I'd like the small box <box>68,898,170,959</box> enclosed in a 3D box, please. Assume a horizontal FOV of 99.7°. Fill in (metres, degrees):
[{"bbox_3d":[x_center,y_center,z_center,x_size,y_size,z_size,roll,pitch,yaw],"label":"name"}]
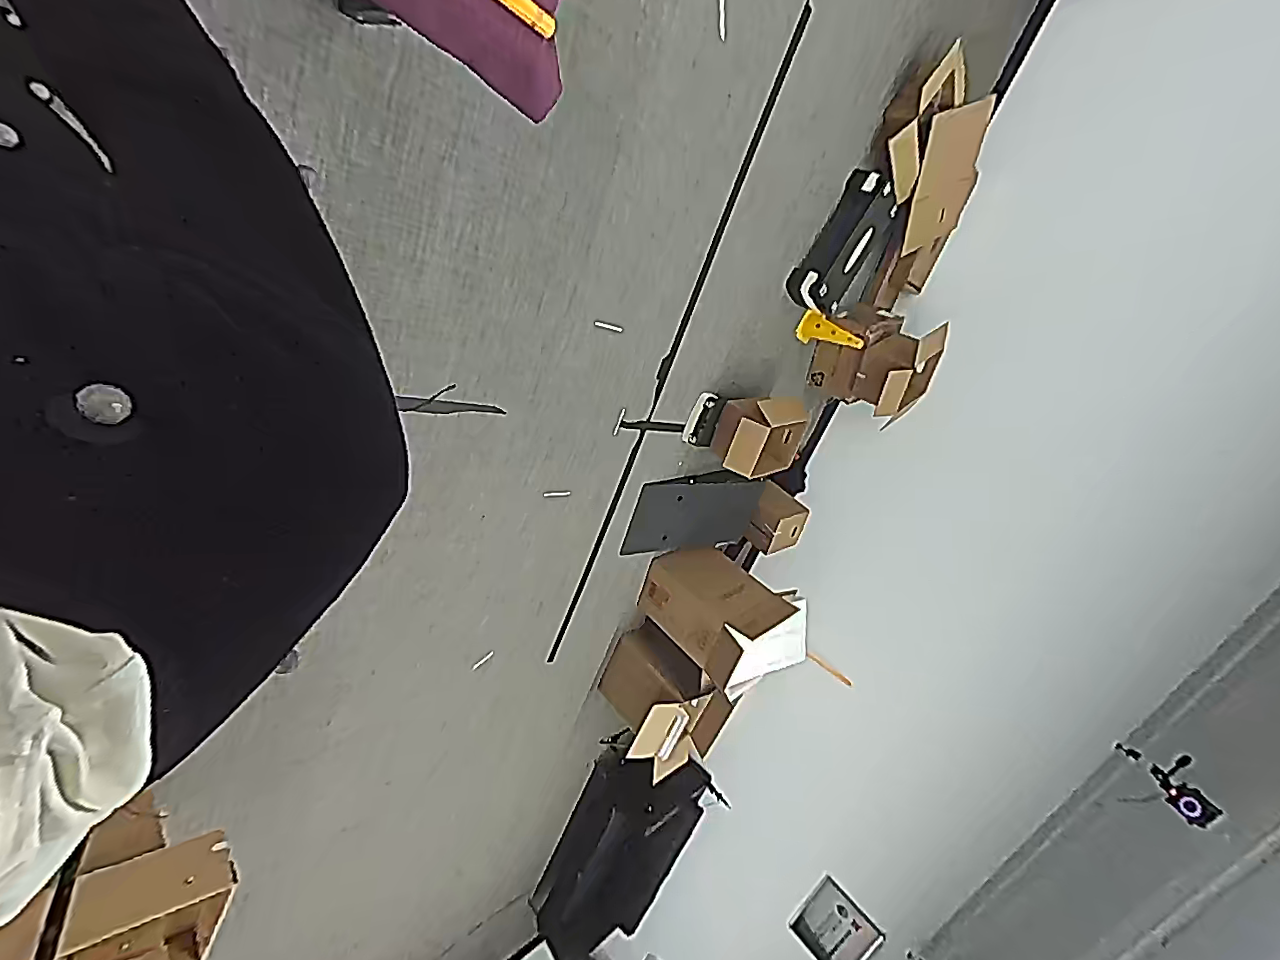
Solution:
[{"bbox_3d":[-1.437,1.312,1.485,0.179,0.176,0.168,14,110,-52],"label":"small box"}]
